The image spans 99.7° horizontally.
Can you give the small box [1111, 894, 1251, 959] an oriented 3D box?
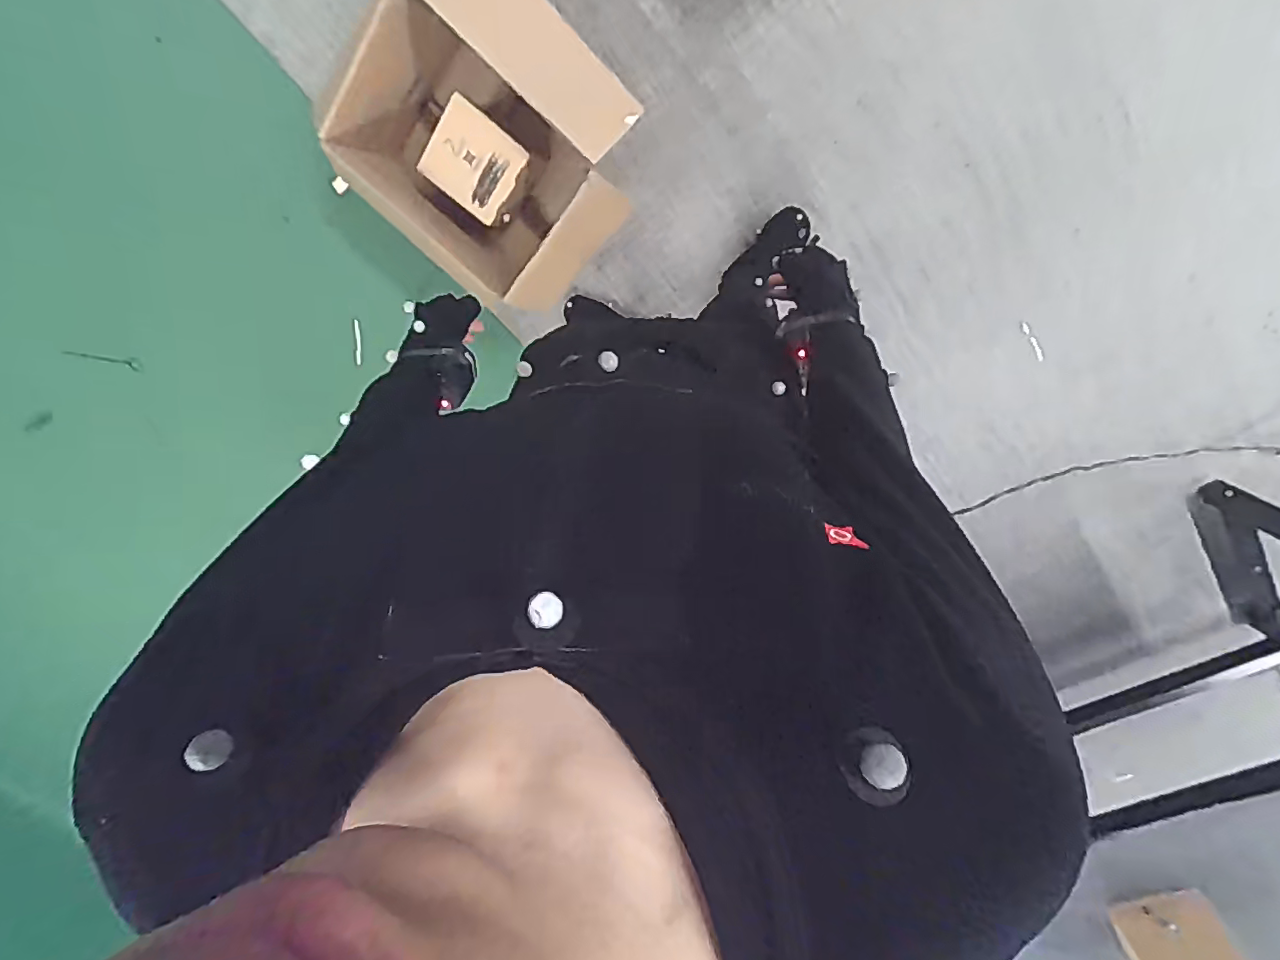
[{"bbox_3d":[1.050,0.930,1.020,0.168,0.176,0.179,-28,110,15],"label":"small box"}]
